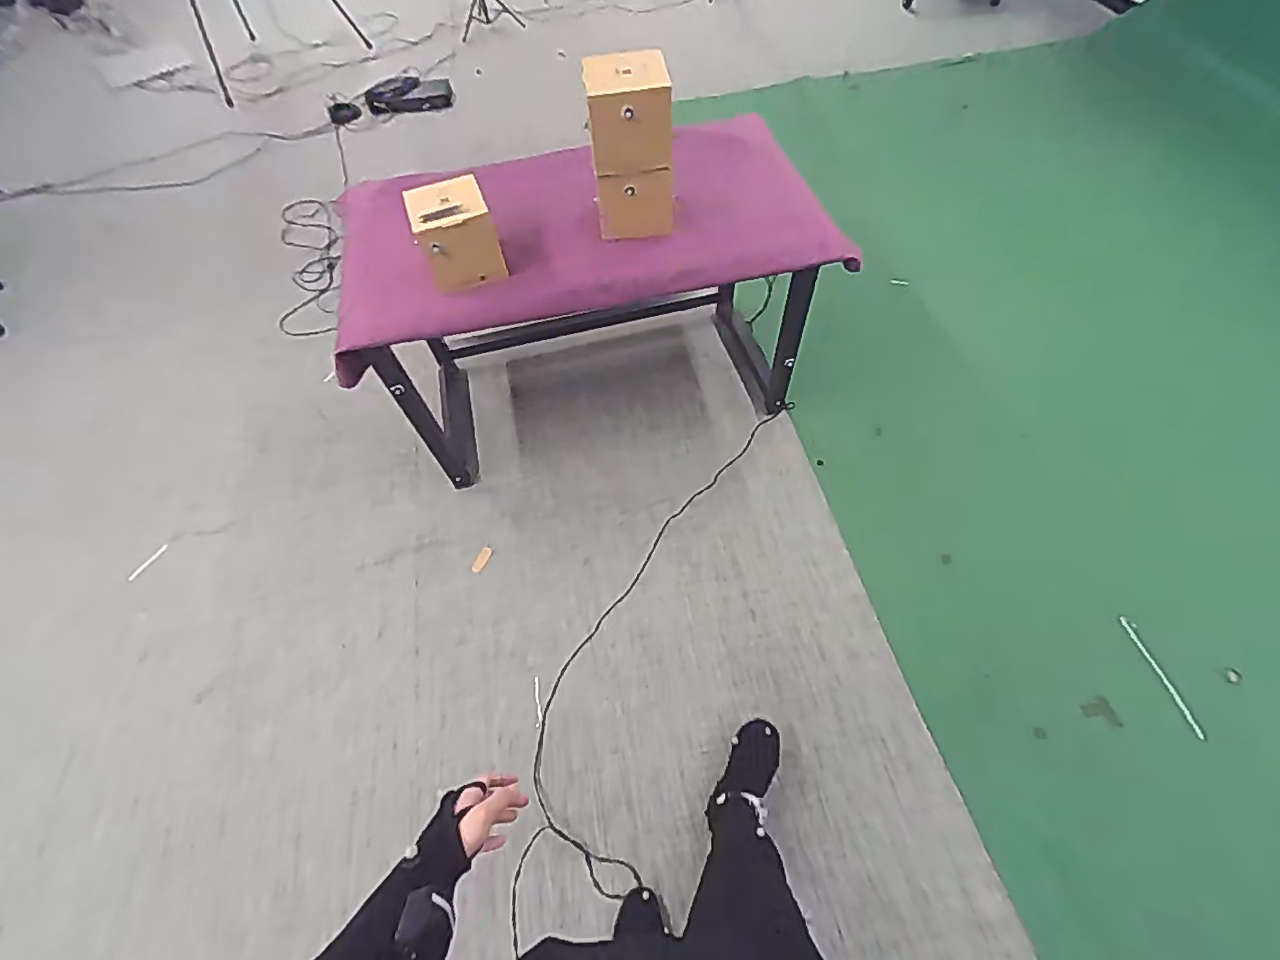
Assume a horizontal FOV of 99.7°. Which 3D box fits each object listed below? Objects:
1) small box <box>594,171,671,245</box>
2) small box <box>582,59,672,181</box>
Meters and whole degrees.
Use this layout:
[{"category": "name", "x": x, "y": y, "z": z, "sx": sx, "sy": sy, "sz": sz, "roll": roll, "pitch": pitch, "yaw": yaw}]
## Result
[{"category": "small box", "x": -0.017, "y": -0.702, "z": 1.329, "sx": 0.179, "sy": 0.176, "sz": 0.168, "roll": -6, "pitch": 59, "yaw": -1}, {"category": "small box", "x": -0.026, "y": -0.783, "z": 1.188, "sx": 0.179, "sy": 0.176, "sz": 0.168, "roll": -7, "pitch": 60, "yaw": -1}]
